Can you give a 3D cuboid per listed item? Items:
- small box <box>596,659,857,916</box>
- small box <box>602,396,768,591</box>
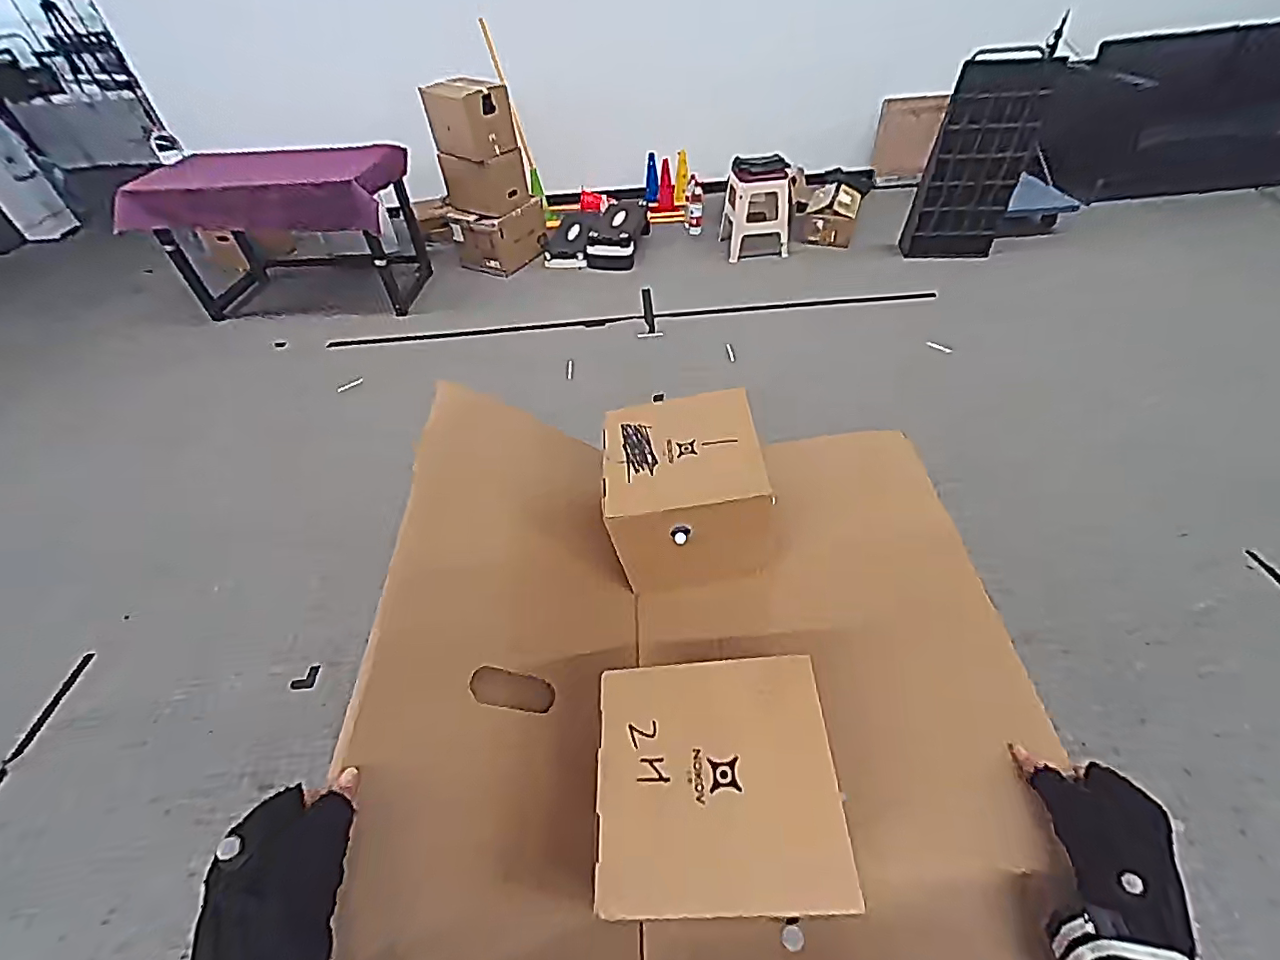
[{"bbox_3d":[0.069,0.269,0.467,0.179,0.176,0.168,-8,50,9],"label":"small box"},{"bbox_3d":[0.057,0.024,0.673,0.179,0.176,0.168,-9,50,6],"label":"small box"}]
